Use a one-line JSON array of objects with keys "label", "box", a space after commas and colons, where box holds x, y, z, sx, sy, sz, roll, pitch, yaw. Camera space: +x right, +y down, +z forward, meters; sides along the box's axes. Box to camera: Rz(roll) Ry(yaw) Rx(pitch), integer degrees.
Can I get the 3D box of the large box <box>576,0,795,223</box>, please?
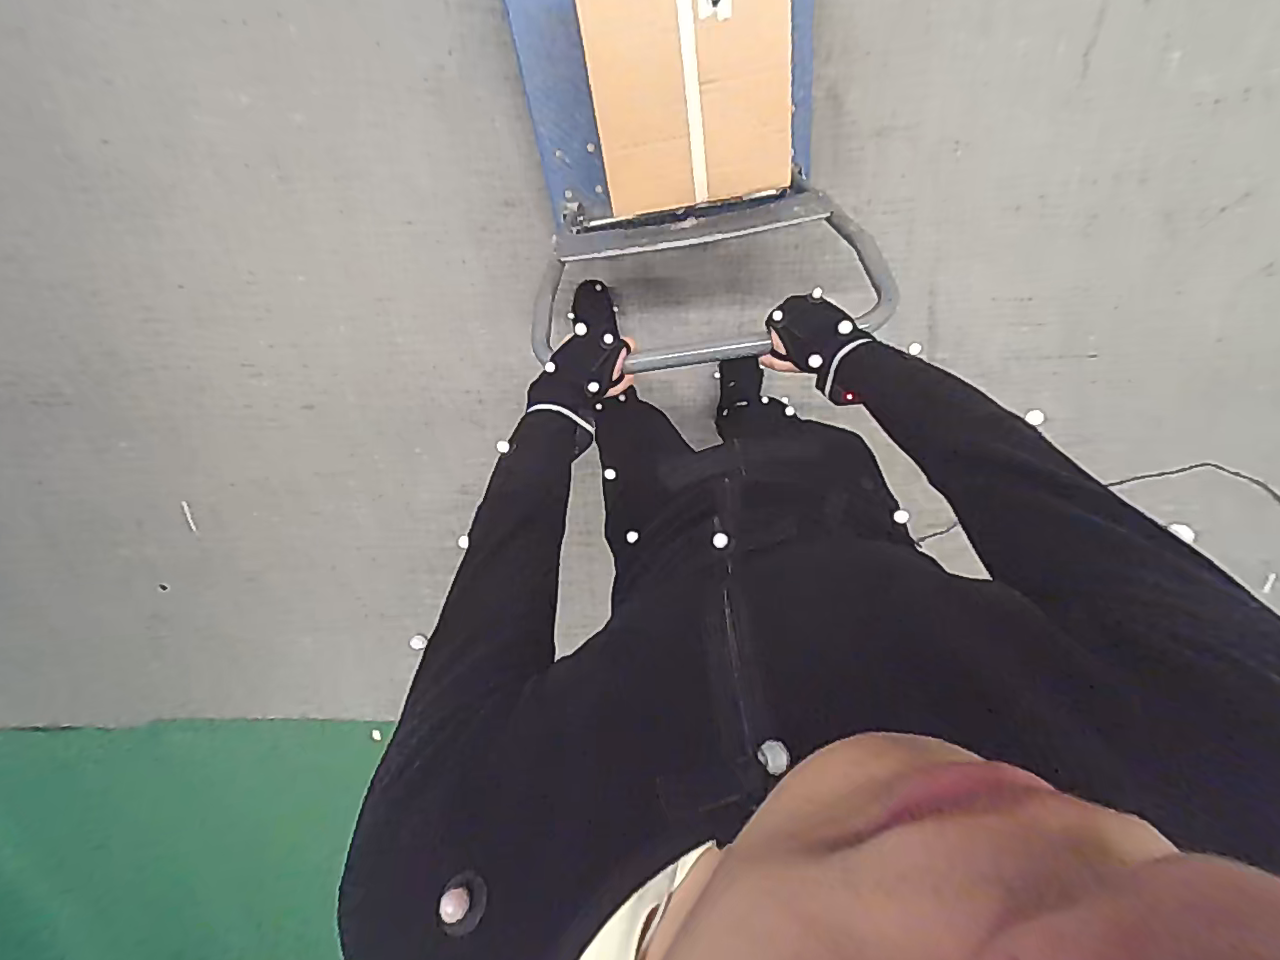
[{"label": "large box", "box": [0.081, -0.718, 0.950, 0.320, 0.320, 0.408, -8, 125, 6]}]
